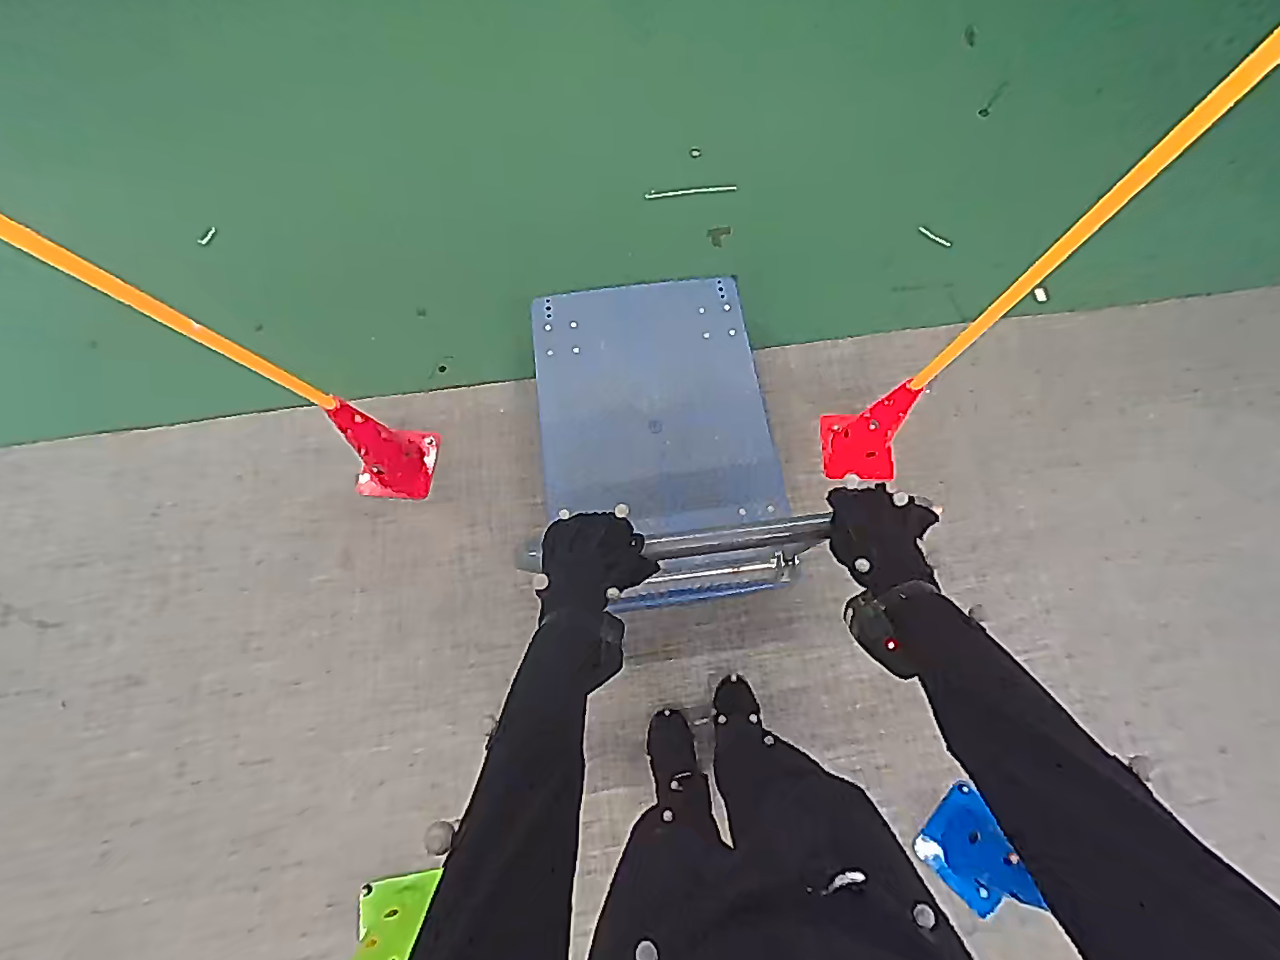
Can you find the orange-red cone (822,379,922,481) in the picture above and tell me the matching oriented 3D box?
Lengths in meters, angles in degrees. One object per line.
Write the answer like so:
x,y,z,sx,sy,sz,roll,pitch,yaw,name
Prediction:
0.616,-0.149,1.372,0.198,0.360,0.199,3,71,1,orange-red cone
